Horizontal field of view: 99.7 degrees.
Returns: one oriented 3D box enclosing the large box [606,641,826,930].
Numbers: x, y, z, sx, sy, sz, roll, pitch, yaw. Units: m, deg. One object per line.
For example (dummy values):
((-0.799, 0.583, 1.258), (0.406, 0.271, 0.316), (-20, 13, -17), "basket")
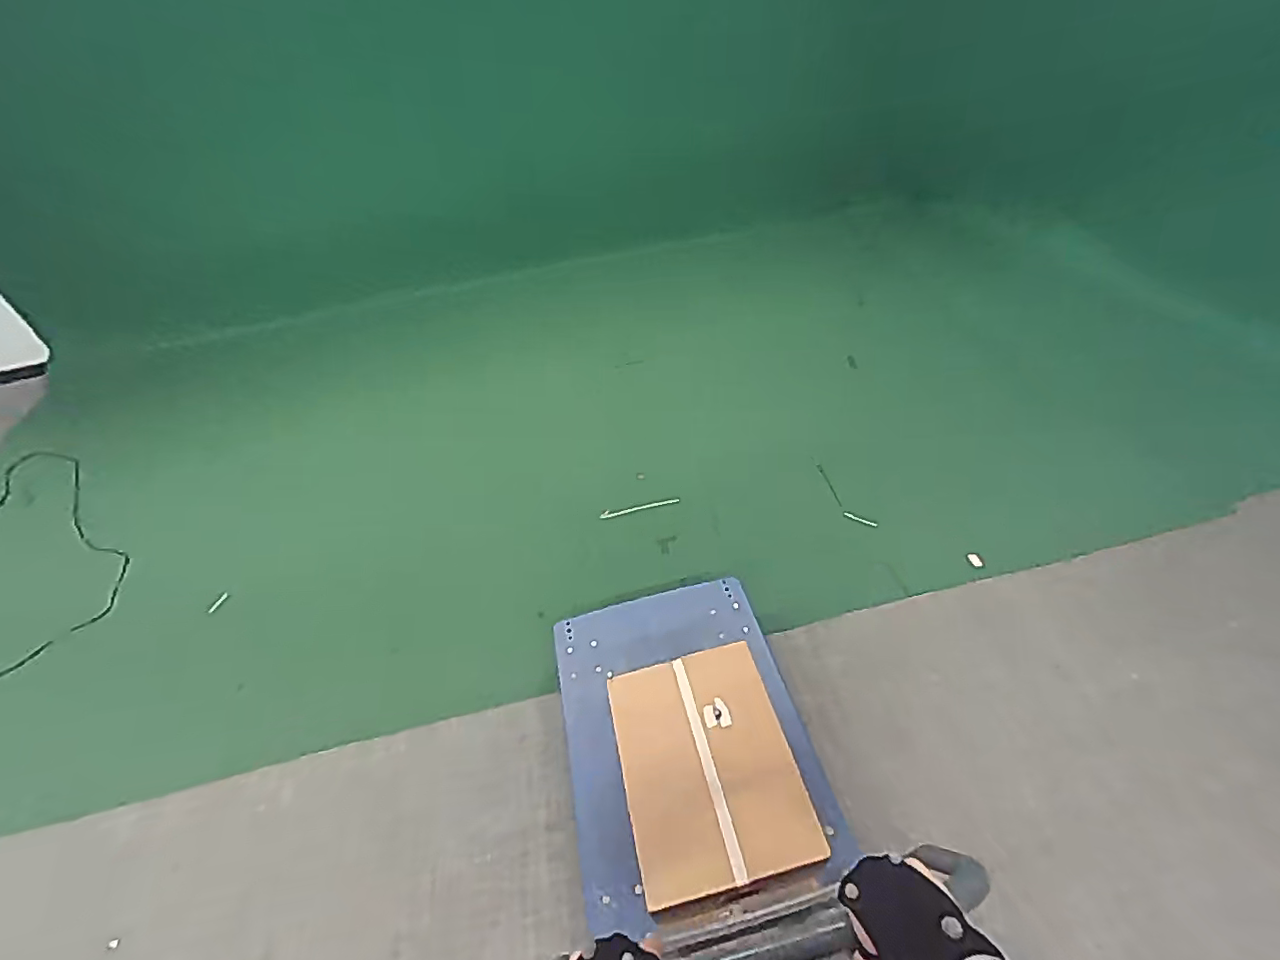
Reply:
((0.140, 0.620, 1.119), (0.320, 0.320, 0.408), (-14, 44, -4), "large box")
